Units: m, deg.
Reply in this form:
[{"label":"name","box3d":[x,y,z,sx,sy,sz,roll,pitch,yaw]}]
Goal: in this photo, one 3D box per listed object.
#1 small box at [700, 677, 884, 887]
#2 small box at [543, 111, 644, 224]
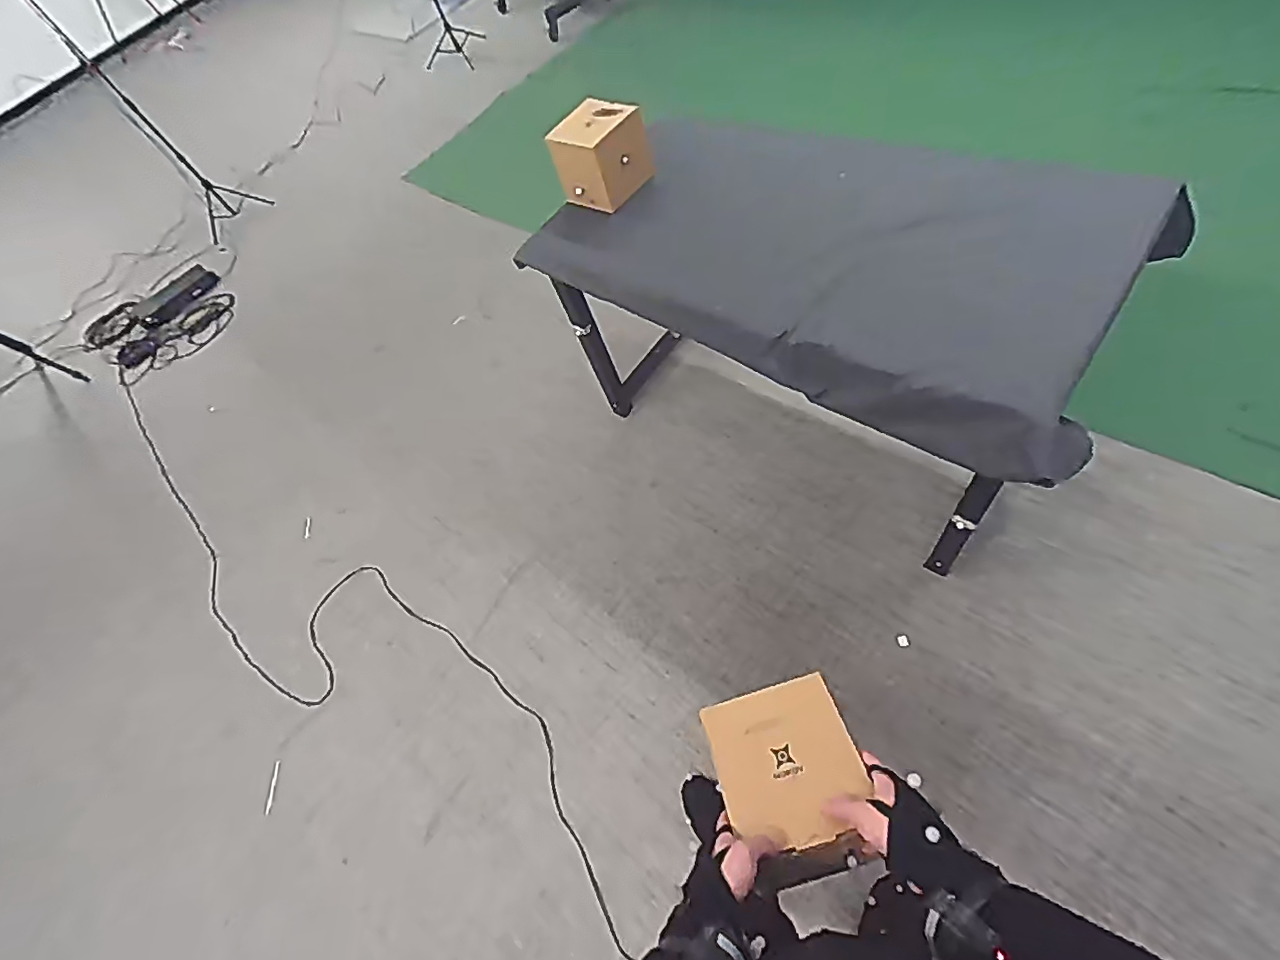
[{"label":"small box","box3d":[0.191,0.392,0.695,0.168,0.176,0.179,-19,41,1]},{"label":"small box","box3d":[-0.106,-0.784,1.360,0.168,0.176,0.179,29,71,28]}]
